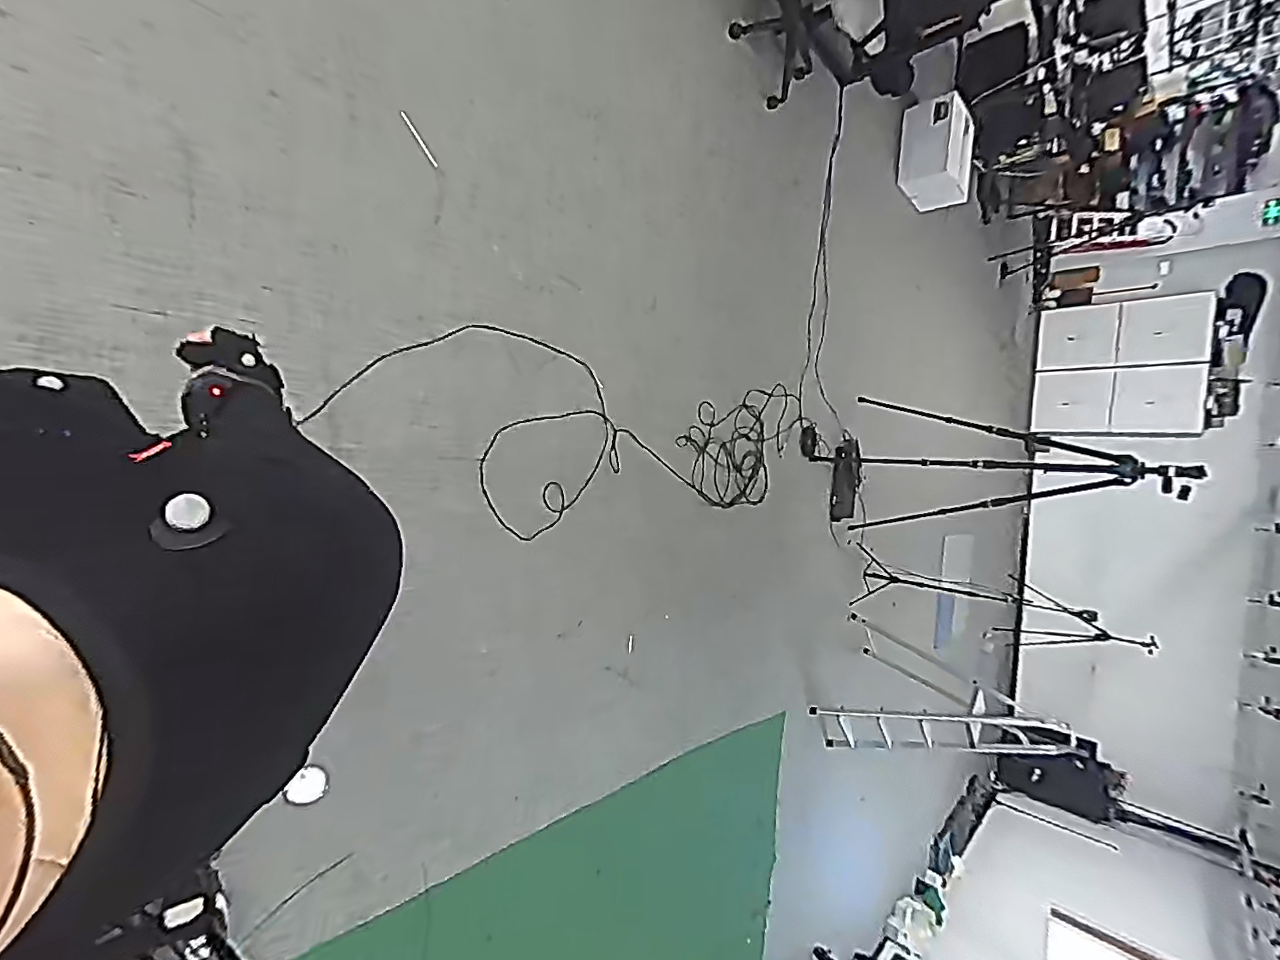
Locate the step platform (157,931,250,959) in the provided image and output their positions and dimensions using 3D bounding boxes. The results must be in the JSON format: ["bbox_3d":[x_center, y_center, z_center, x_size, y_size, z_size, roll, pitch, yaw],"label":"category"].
[{"bbox_3d":[-1.014,1.060,0.844,0.684,0.204,0.286,3,92,-47],"label":"step platform"}]
